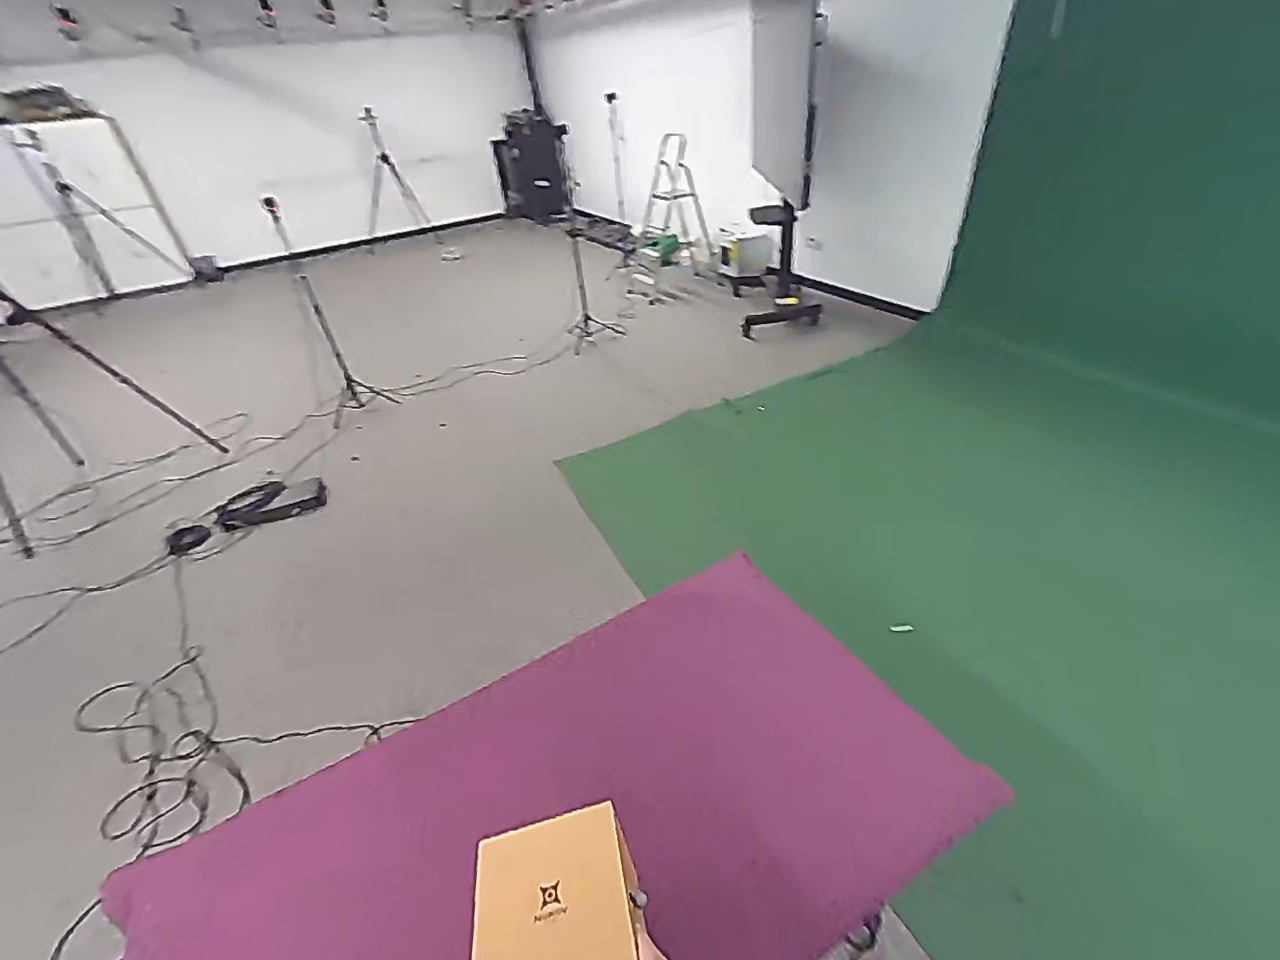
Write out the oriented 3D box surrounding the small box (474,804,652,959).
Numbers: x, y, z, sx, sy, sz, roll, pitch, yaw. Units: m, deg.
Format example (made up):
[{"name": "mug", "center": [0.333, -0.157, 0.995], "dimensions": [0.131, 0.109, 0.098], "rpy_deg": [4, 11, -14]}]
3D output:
[{"name": "small box", "center": [-0.079, 0.514, 0.606], "dimensions": [0.168, 0.176, 0.179], "rpy_deg": [-13, 29, -6]}]
